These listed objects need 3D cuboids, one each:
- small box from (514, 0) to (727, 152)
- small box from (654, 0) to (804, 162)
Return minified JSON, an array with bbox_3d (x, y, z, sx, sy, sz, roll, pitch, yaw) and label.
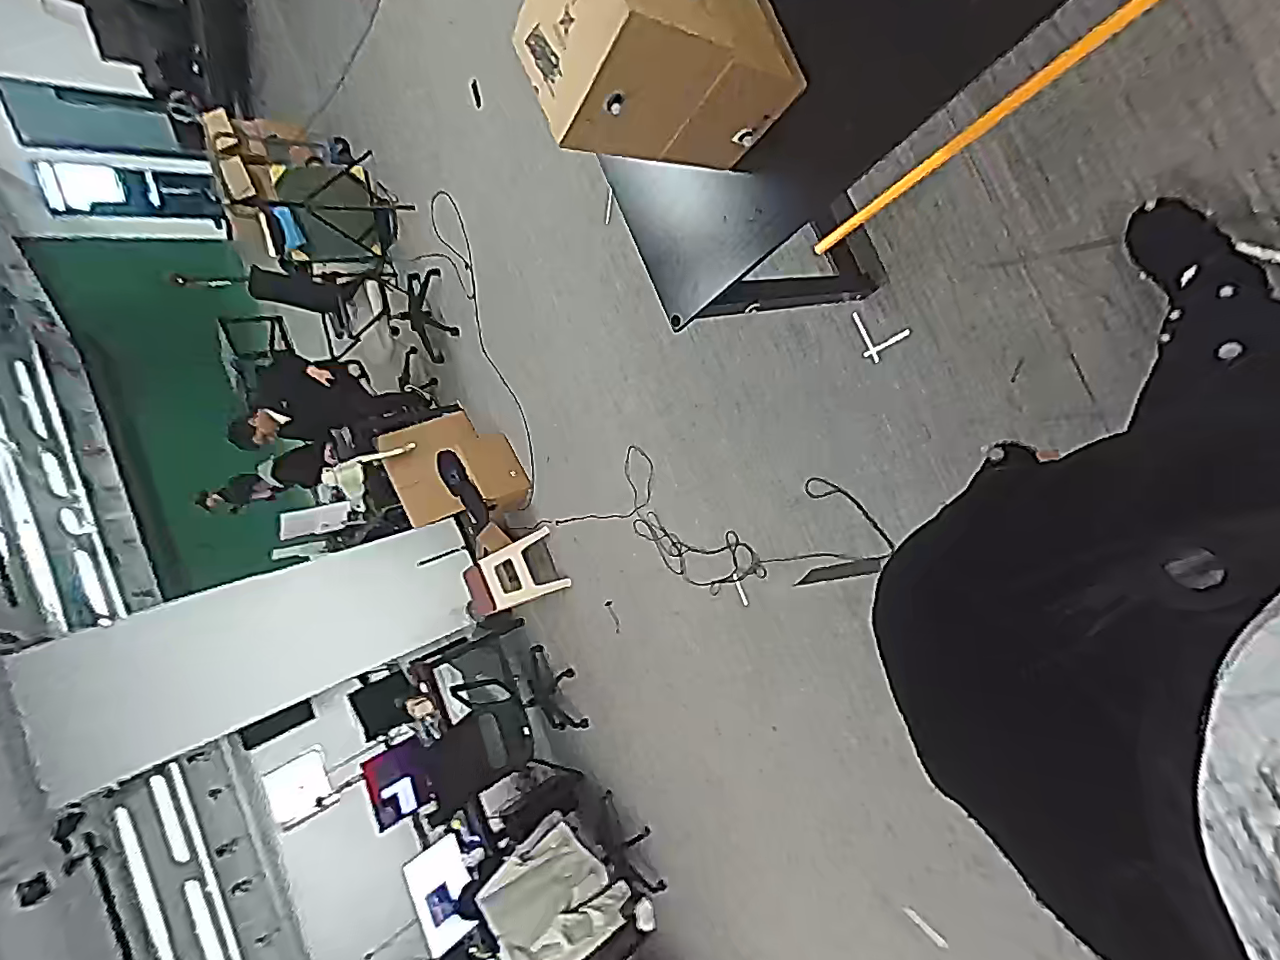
[{"bbox_3d":[-0.026,-0.541,0.667,0.179,0.176,0.168,-30,81,52],"label":"small box"},{"bbox_3d":[0.097,-0.586,0.768,0.168,0.176,0.179,-29,83,53],"label":"small box"}]
